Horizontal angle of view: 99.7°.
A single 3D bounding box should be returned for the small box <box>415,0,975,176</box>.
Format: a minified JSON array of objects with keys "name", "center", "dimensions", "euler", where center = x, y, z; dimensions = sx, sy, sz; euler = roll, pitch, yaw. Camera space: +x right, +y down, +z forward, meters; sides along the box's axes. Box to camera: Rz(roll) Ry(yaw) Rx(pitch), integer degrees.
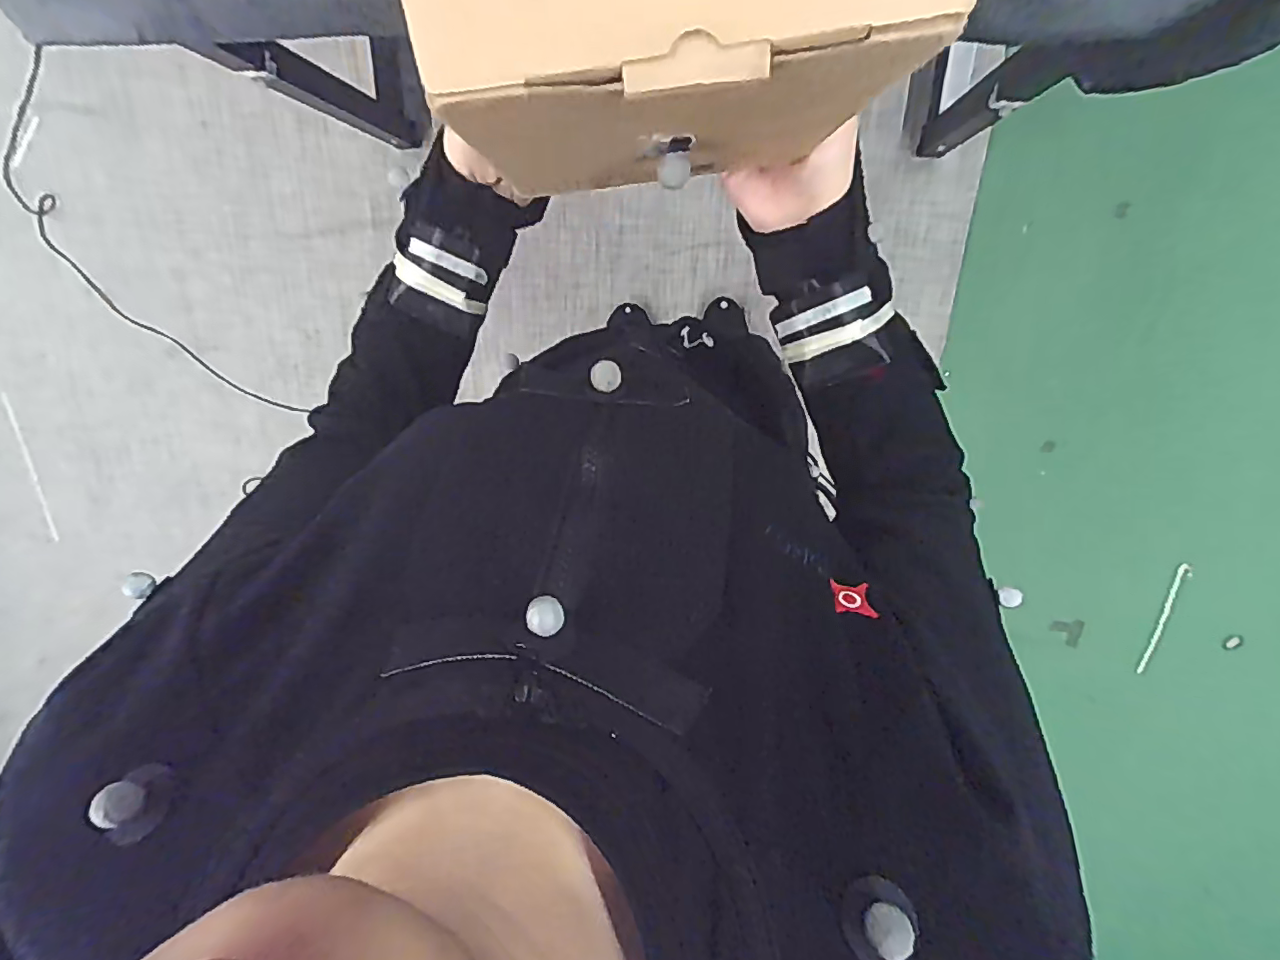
[{"name":"small box","center":[0.007,-0.231,0.208],"dimensions":[0.168,0.176,0.179],"euler":[-8,110,1]}]
